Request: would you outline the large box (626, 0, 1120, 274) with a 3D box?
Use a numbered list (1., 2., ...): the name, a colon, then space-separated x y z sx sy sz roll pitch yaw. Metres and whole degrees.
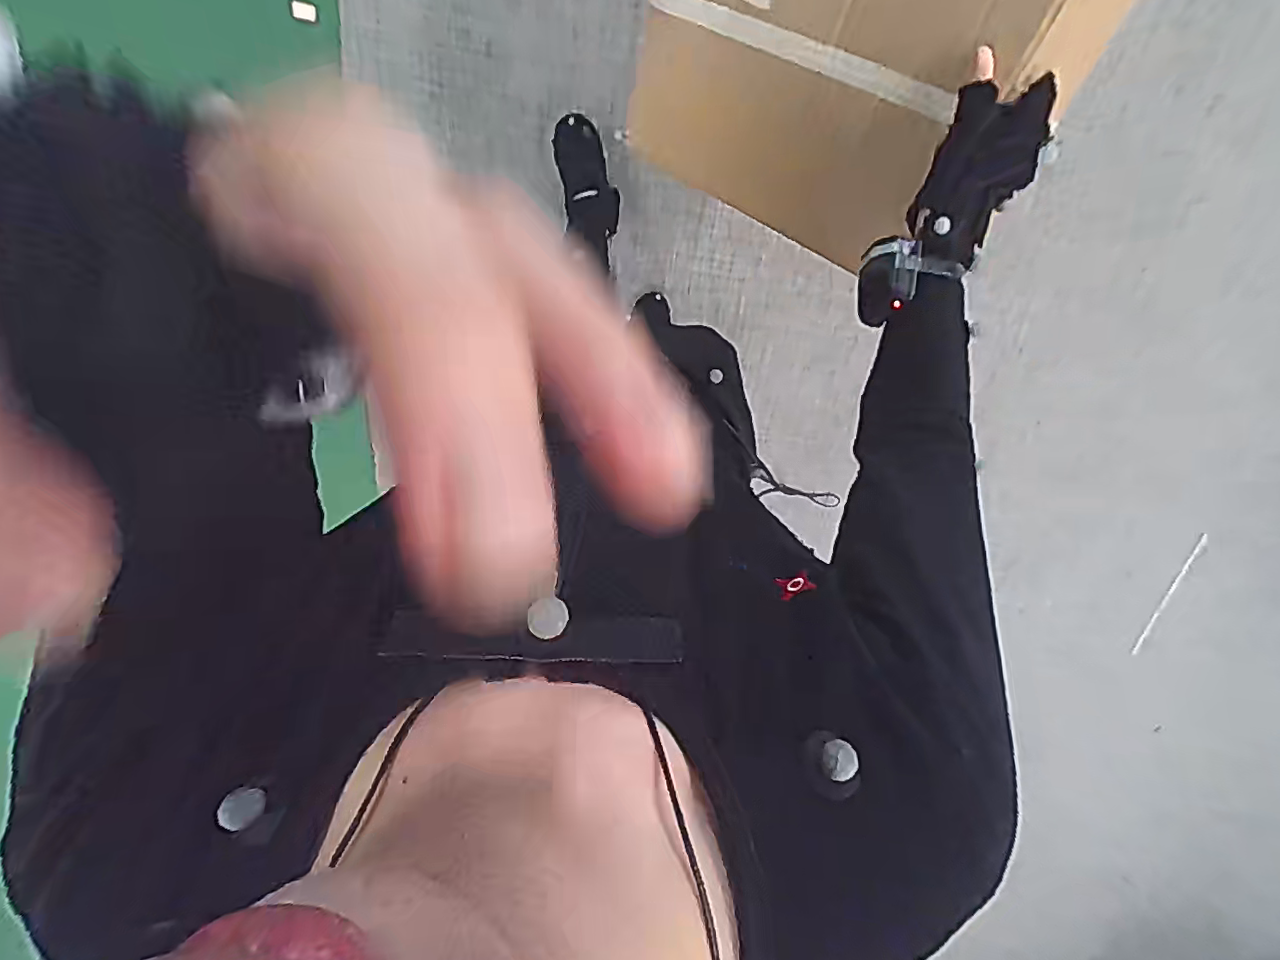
1. large box: 0.254 -0.496 0.627 0.408 0.320 0.320 40 137 21
